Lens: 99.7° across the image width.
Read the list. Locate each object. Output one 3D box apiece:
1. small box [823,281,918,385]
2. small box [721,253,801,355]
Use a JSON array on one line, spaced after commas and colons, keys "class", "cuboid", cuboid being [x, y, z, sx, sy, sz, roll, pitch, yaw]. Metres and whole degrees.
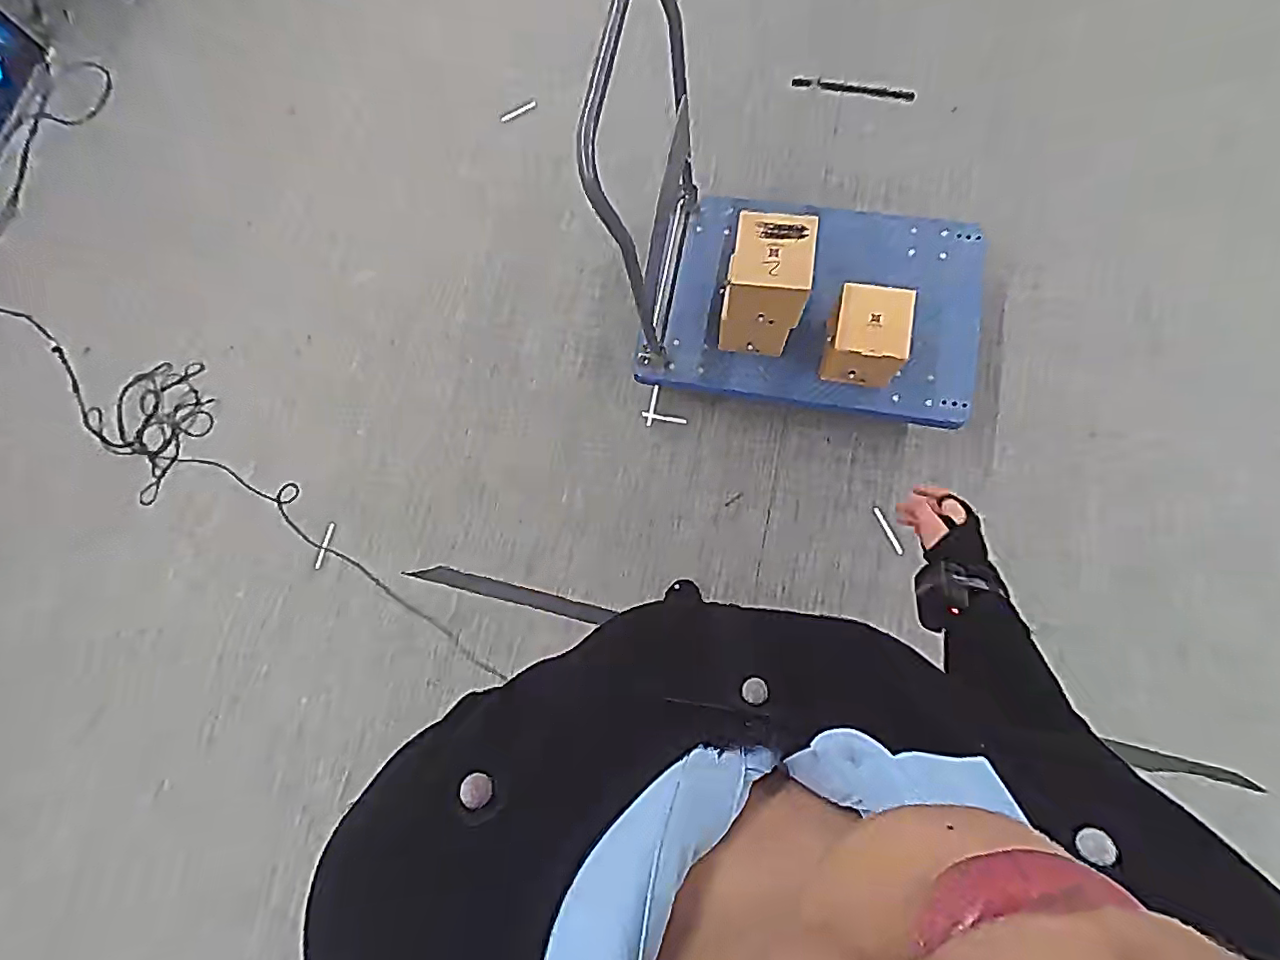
[{"class": "small box", "cuboid": [0.555, -0.355, 1.322, 0.168, 0.176, 0.179, 10, 79, 8]}, {"class": "small box", "cuboid": [0.300, -0.441, 1.365, 0.168, 0.176, 0.179, 9, 79, 8]}]
